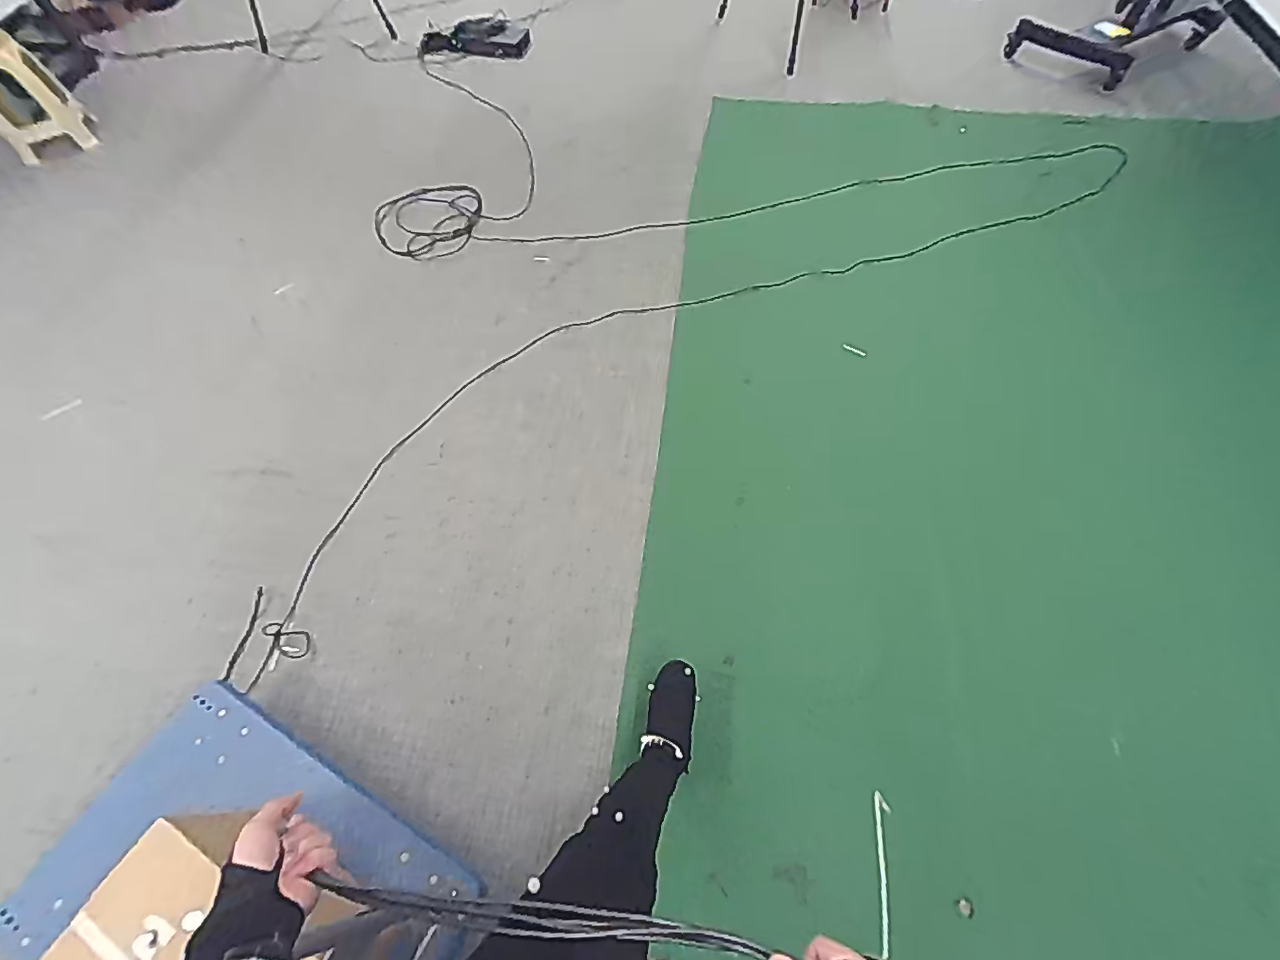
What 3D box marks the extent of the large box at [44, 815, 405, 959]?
[{"bbox_3d":[-0.711,0.851,0.938,0.408,0.320,0.320,25,63,16],"label":"large box"}]
